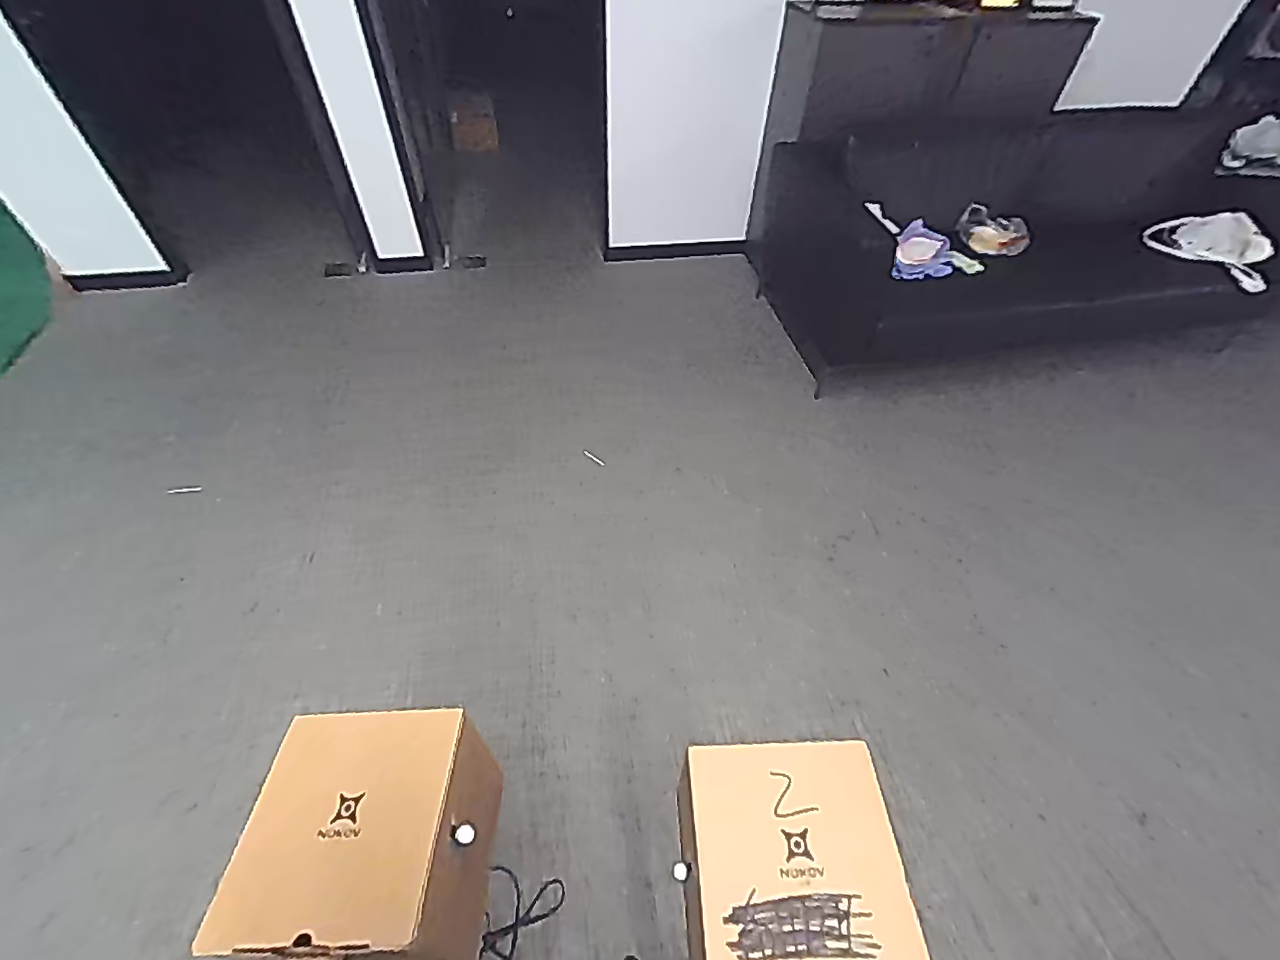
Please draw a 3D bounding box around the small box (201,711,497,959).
[{"bbox_3d":[-0.243,0.344,0.514,0.168,0.176,0.179,-4,44,2],"label":"small box"}]
